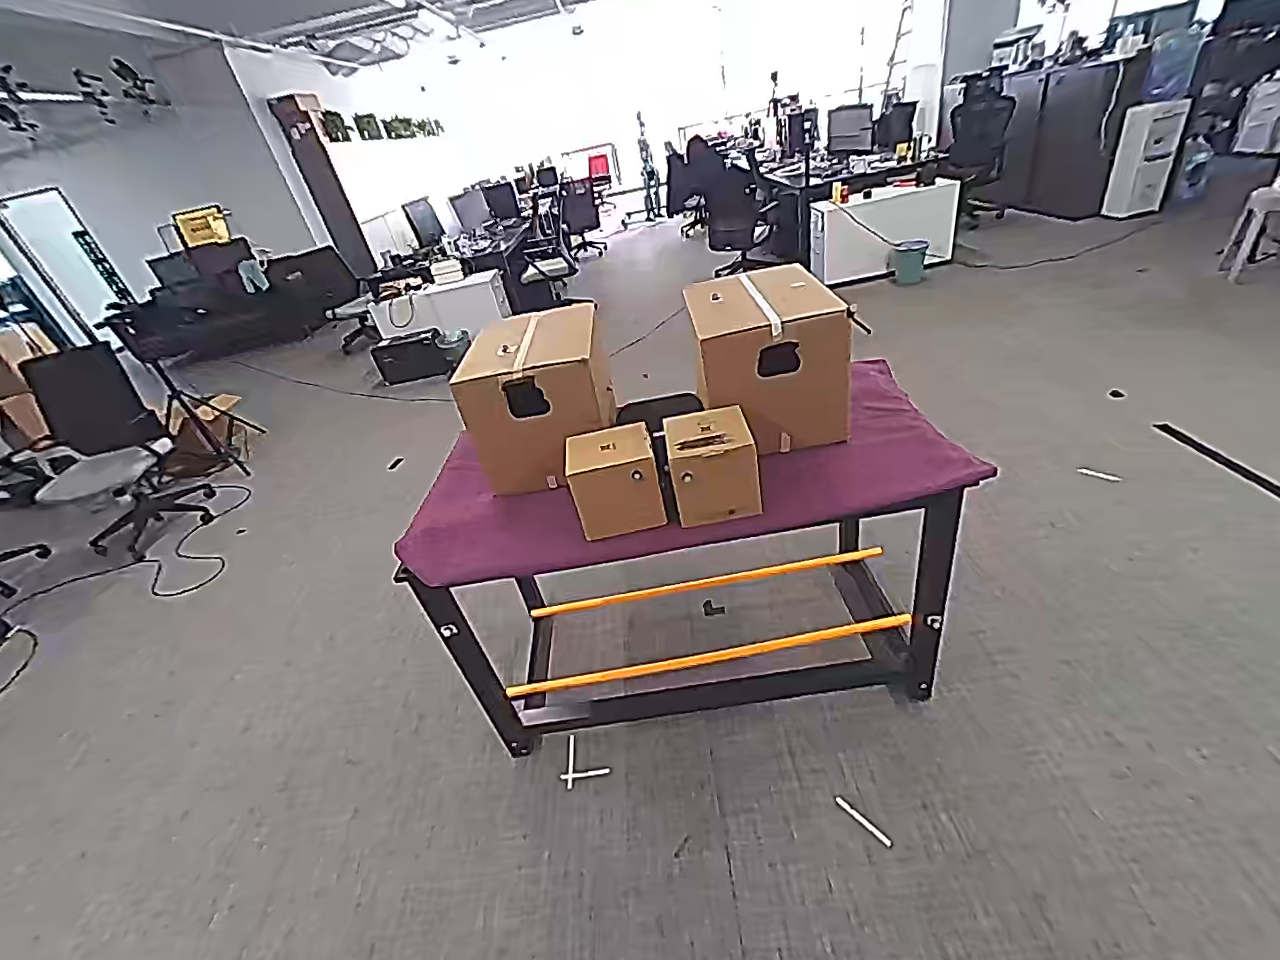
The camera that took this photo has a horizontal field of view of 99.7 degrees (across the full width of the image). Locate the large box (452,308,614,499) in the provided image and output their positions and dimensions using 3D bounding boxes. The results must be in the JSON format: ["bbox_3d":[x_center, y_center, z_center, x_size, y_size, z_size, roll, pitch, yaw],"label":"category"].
[{"bbox_3d":[-0.247,-0.209,1.404,0.320,0.320,0.408,-11,36,4],"label":"large box"}]
